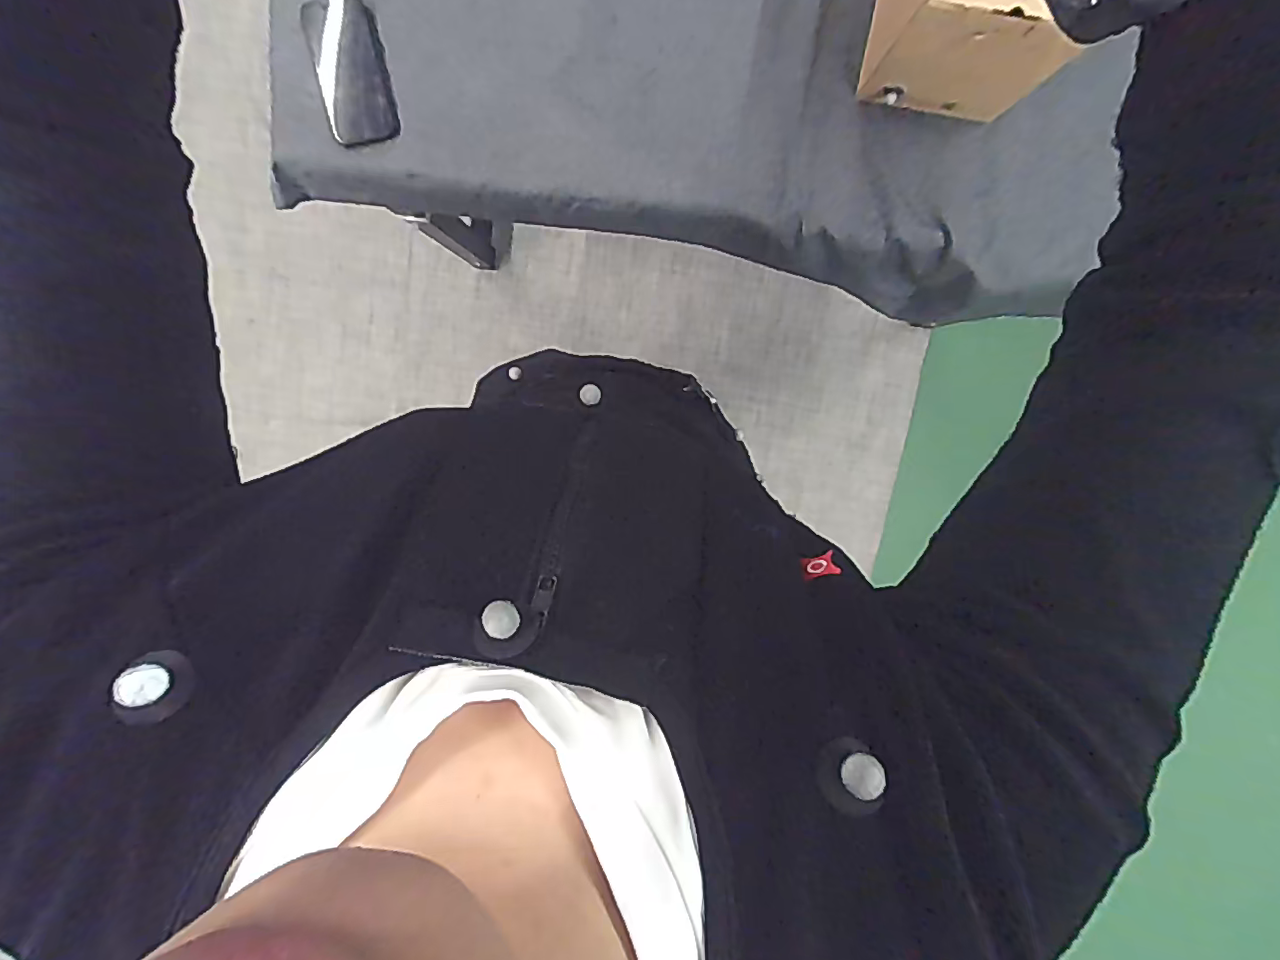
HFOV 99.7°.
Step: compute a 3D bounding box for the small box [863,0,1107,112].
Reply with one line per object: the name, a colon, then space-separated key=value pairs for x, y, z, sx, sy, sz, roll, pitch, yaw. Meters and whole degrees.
small box: x=0.351 y=-0.517 z=0.553 sx=0.168 sy=0.176 sz=0.179 roll=9 pitch=99 yaw=-2
